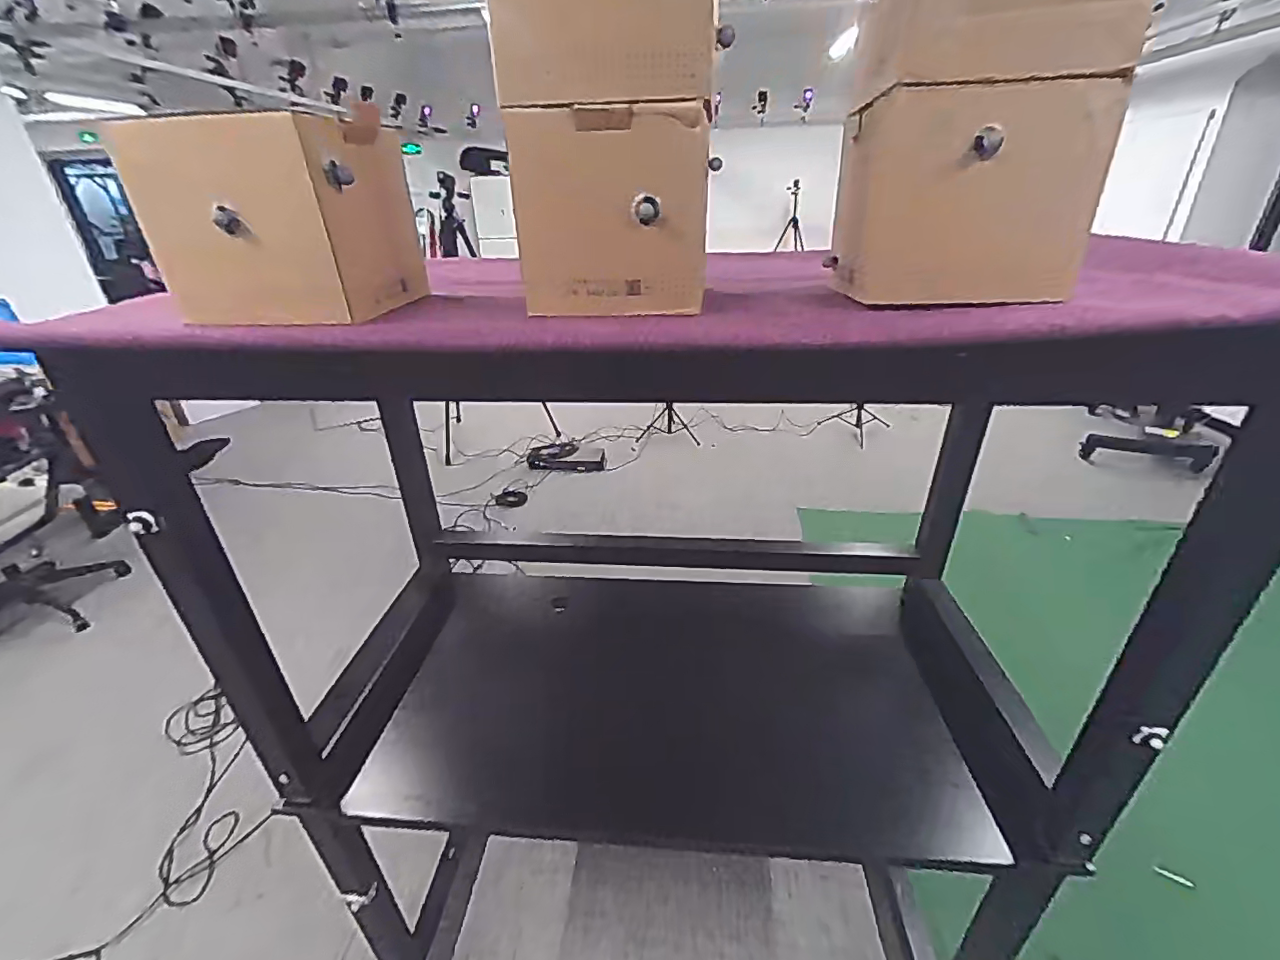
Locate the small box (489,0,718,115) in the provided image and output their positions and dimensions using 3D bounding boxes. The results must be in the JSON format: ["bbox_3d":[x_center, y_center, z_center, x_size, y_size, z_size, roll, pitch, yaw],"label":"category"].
[{"bbox_3d":[-0.024,-0.413,0.456,0.179,0.176,0.168,3,29,7],"label":"small box"}]

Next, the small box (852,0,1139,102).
[{"bbox_3d":[0.286,-0.418,0.445,0.179,0.176,0.168,1,26,5],"label":"small box"}]

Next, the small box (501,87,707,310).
[{"bbox_3d":[-0.020,-0.266,0.532,0.168,0.176,0.179,3,27,6],"label":"small box"}]

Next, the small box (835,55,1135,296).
[{"bbox_3d":[0.292,-0.270,0.511,0.179,0.176,0.168,1,25,5],"label":"small box"}]
